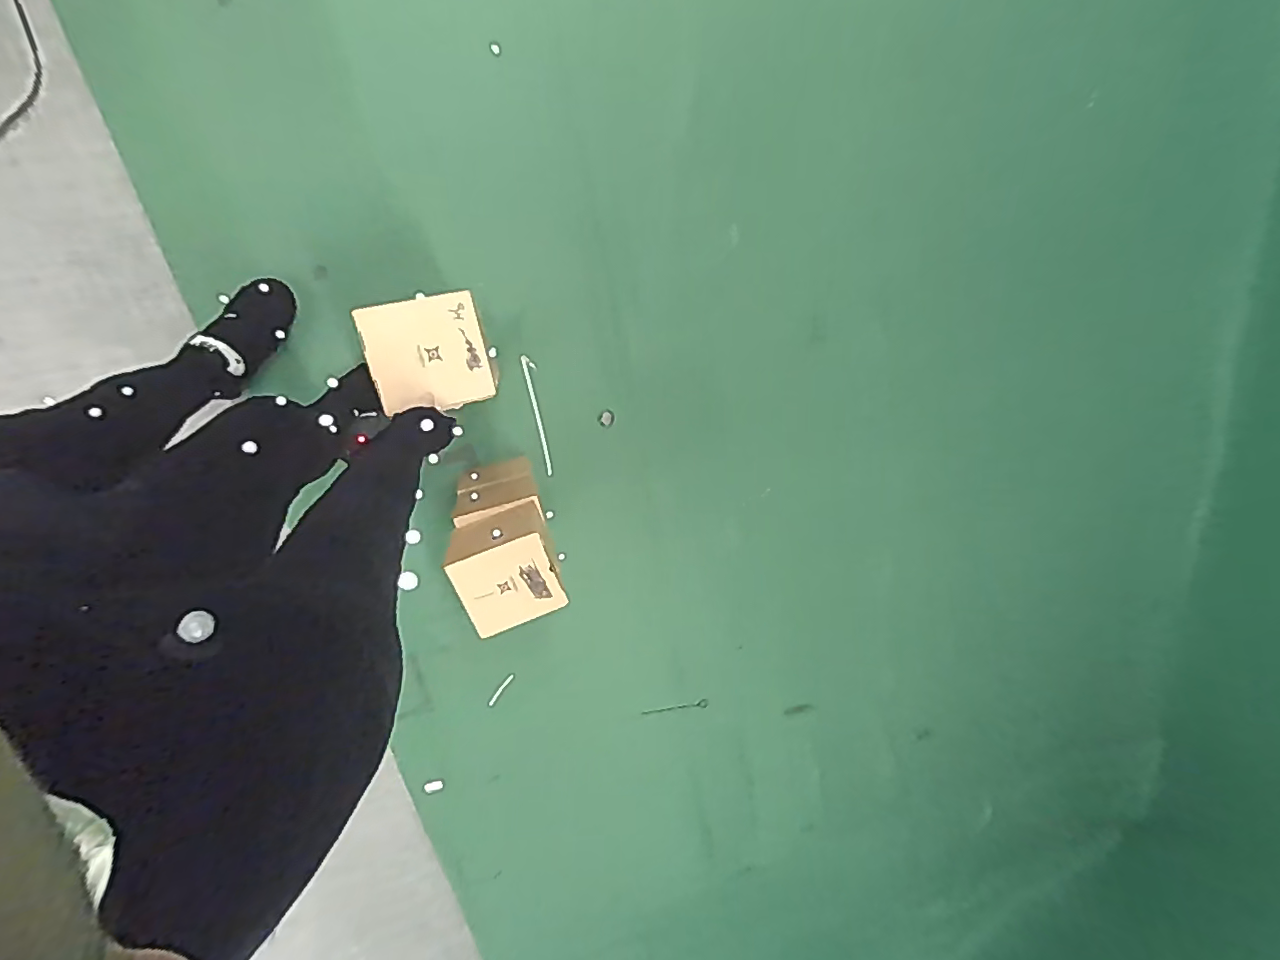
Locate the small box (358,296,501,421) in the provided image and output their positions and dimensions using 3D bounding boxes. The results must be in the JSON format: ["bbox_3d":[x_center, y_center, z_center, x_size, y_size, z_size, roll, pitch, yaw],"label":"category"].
[{"bbox_3d":[-0.340,-0.206,0.910,0.179,0.176,0.168,-15,108,-10],"label":"small box"}]

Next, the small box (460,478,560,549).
[{"bbox_3d":[-0.280,0.112,1.198,0.179,0.176,0.168,-17,111,-8],"label":"small box"}]

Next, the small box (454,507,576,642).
[{"bbox_3d":[-0.240,0.174,1.052,0.179,0.176,0.168,-21,111,-5],"label":"small box"}]
